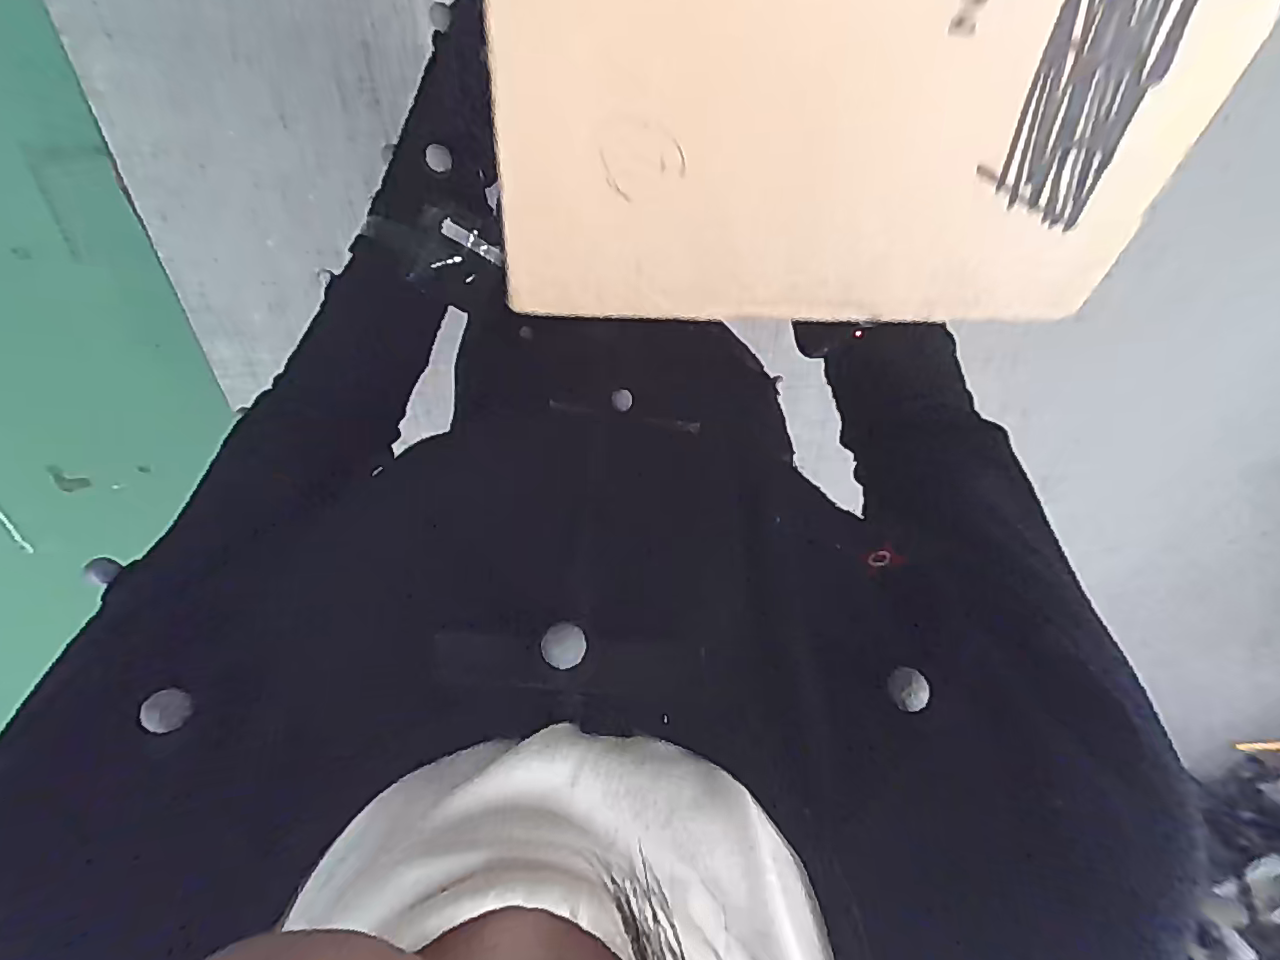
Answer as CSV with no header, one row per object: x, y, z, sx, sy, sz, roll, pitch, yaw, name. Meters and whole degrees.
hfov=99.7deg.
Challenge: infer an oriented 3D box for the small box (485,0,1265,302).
0.047,-0.169,0.156,0.179,0.176,0.168,-1,135,-9,small box
